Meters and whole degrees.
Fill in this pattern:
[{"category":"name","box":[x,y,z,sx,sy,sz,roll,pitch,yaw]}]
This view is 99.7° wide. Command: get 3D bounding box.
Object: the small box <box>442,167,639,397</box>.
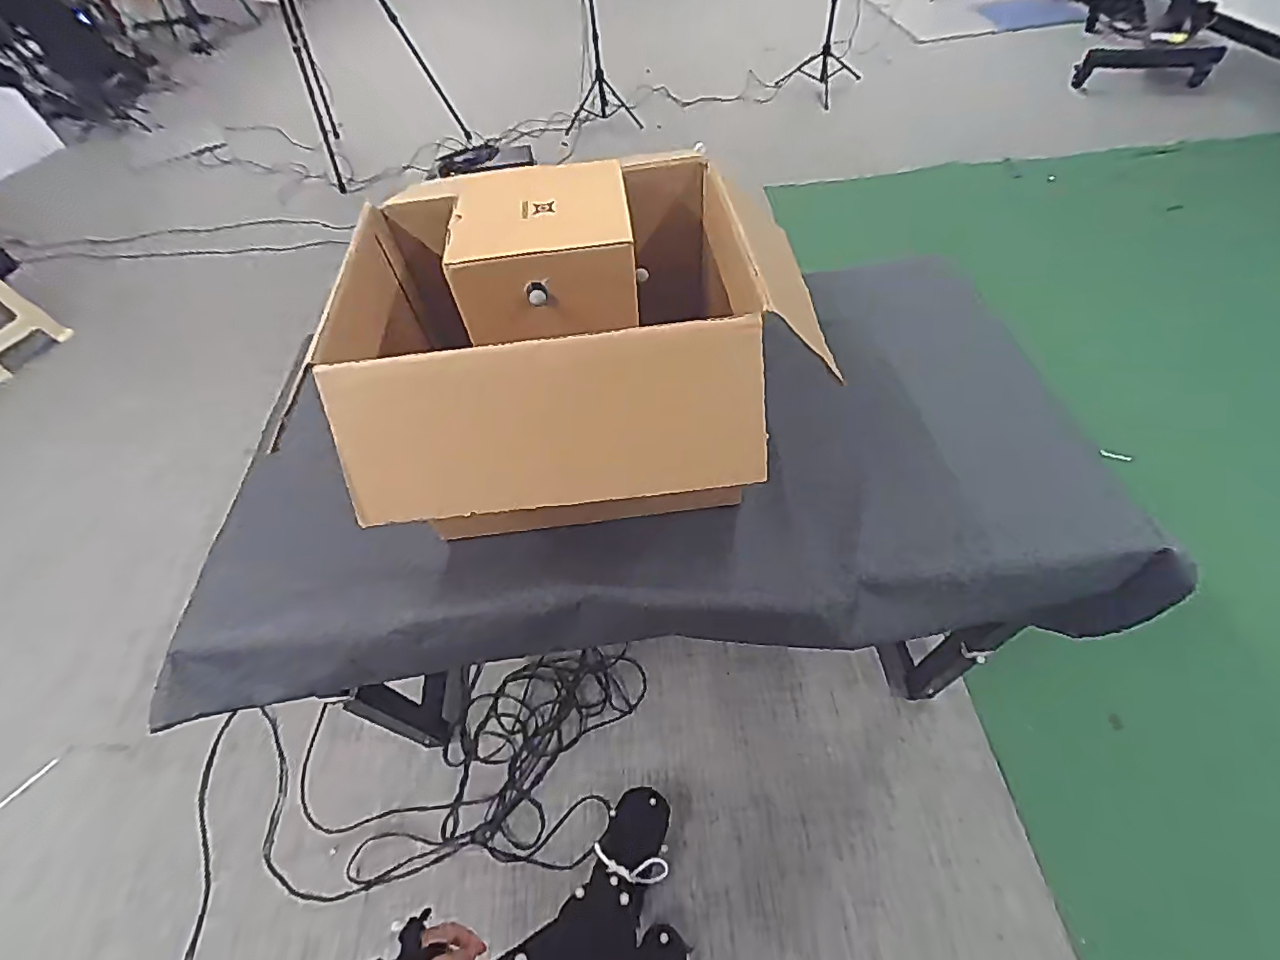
[{"category":"small box","box":[-0.094,-0.212,0.595,0.179,0.176,0.168,-7,53,0]}]
